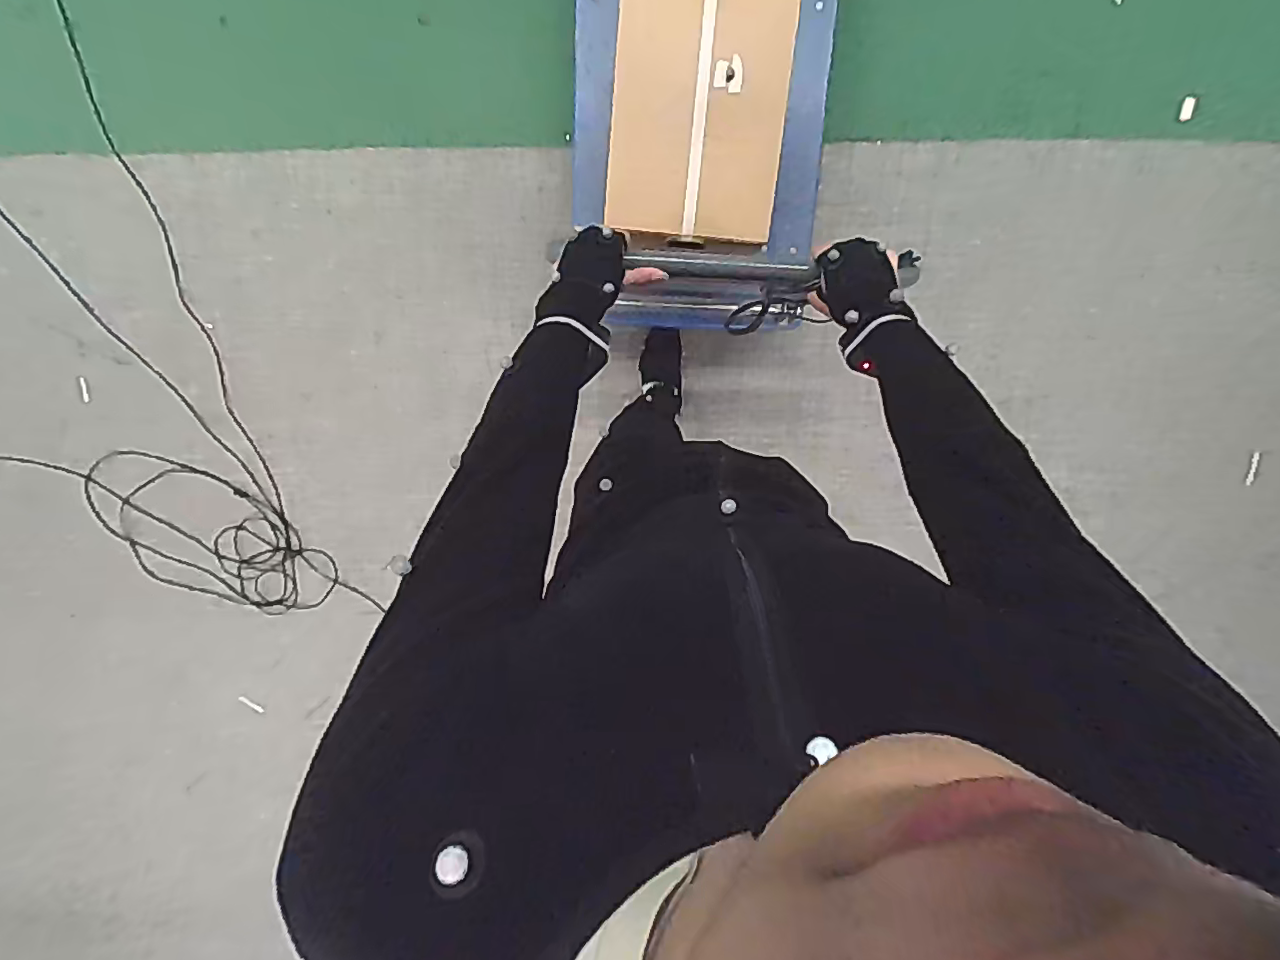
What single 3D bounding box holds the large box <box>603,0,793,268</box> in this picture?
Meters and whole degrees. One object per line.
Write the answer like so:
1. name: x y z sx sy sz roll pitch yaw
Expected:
1. large box: 0.102 -0.684 1.124 0.320 0.320 0.408 5 102 -1
